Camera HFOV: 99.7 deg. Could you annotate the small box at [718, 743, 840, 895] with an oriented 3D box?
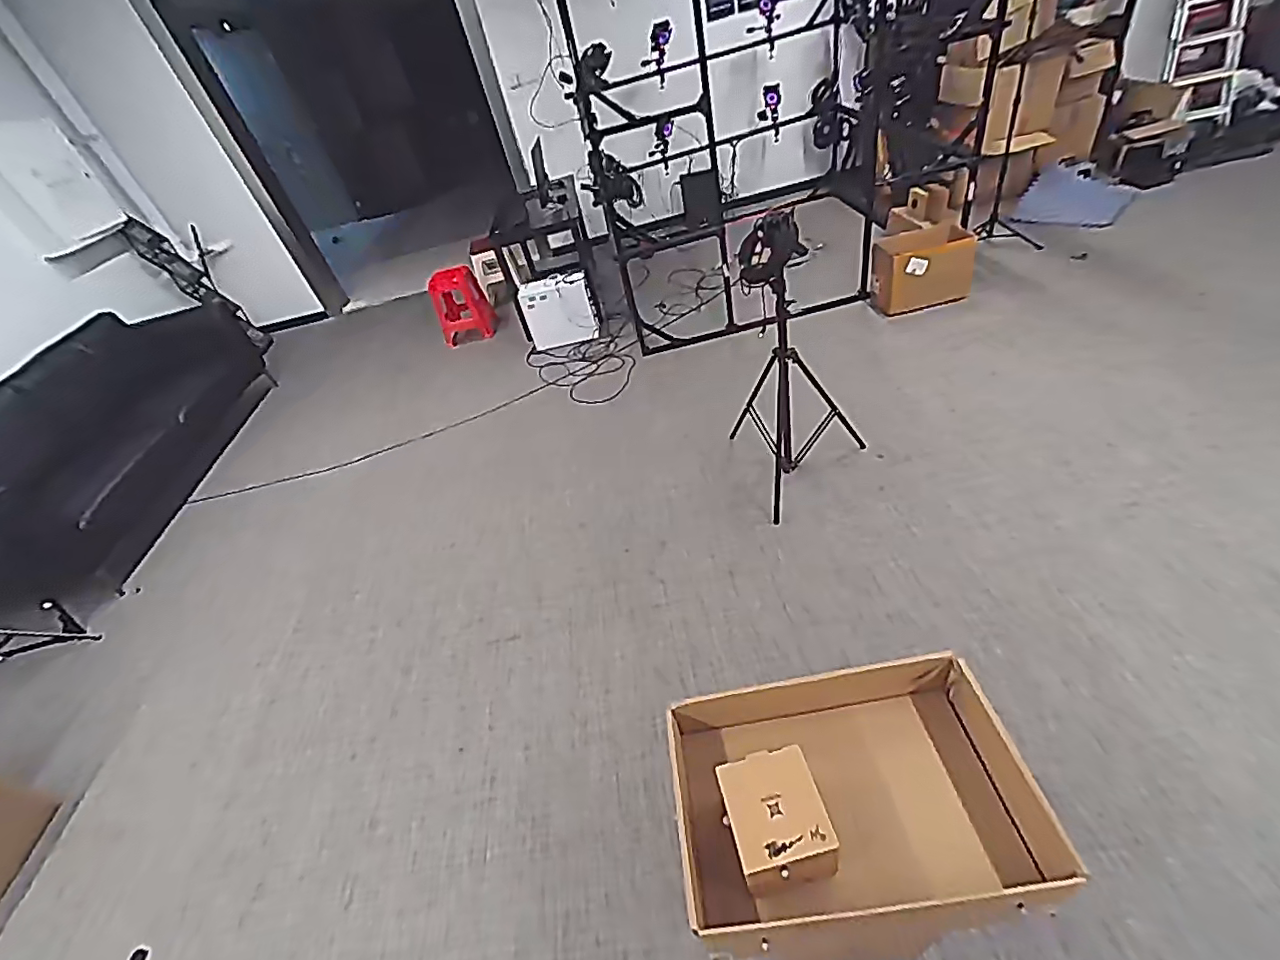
[{"bbox_3d":[0.253,0.628,1.003,0.168,0.176,0.179,-17,40,0],"label":"small box"}]
